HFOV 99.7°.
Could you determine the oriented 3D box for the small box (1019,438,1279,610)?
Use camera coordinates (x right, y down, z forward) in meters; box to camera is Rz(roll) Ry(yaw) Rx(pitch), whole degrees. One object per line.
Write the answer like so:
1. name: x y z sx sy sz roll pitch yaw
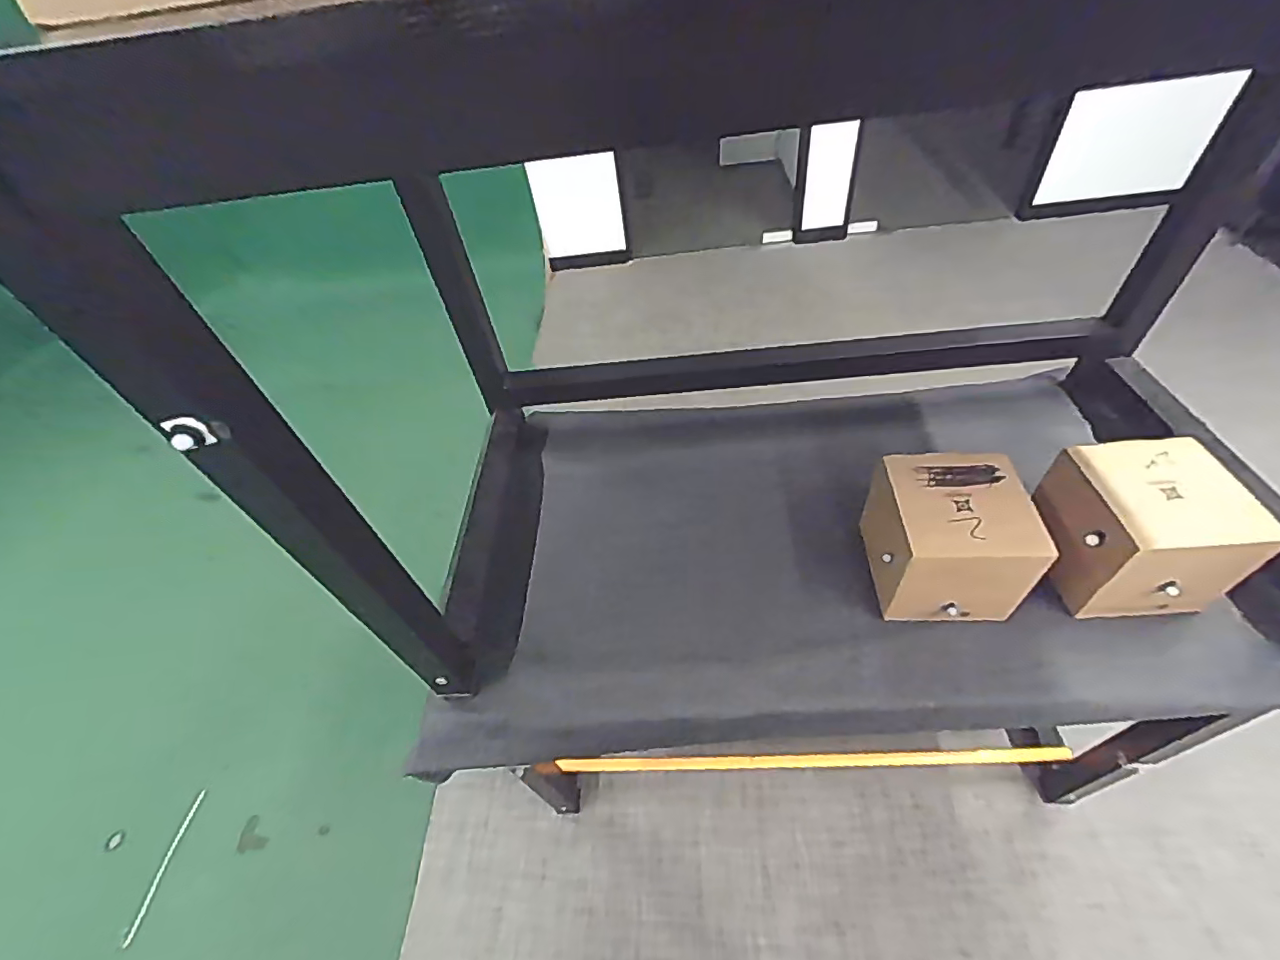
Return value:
1. small box: 0.671 0.067 0.742 0.168 0.176 0.179 -4 47 5
